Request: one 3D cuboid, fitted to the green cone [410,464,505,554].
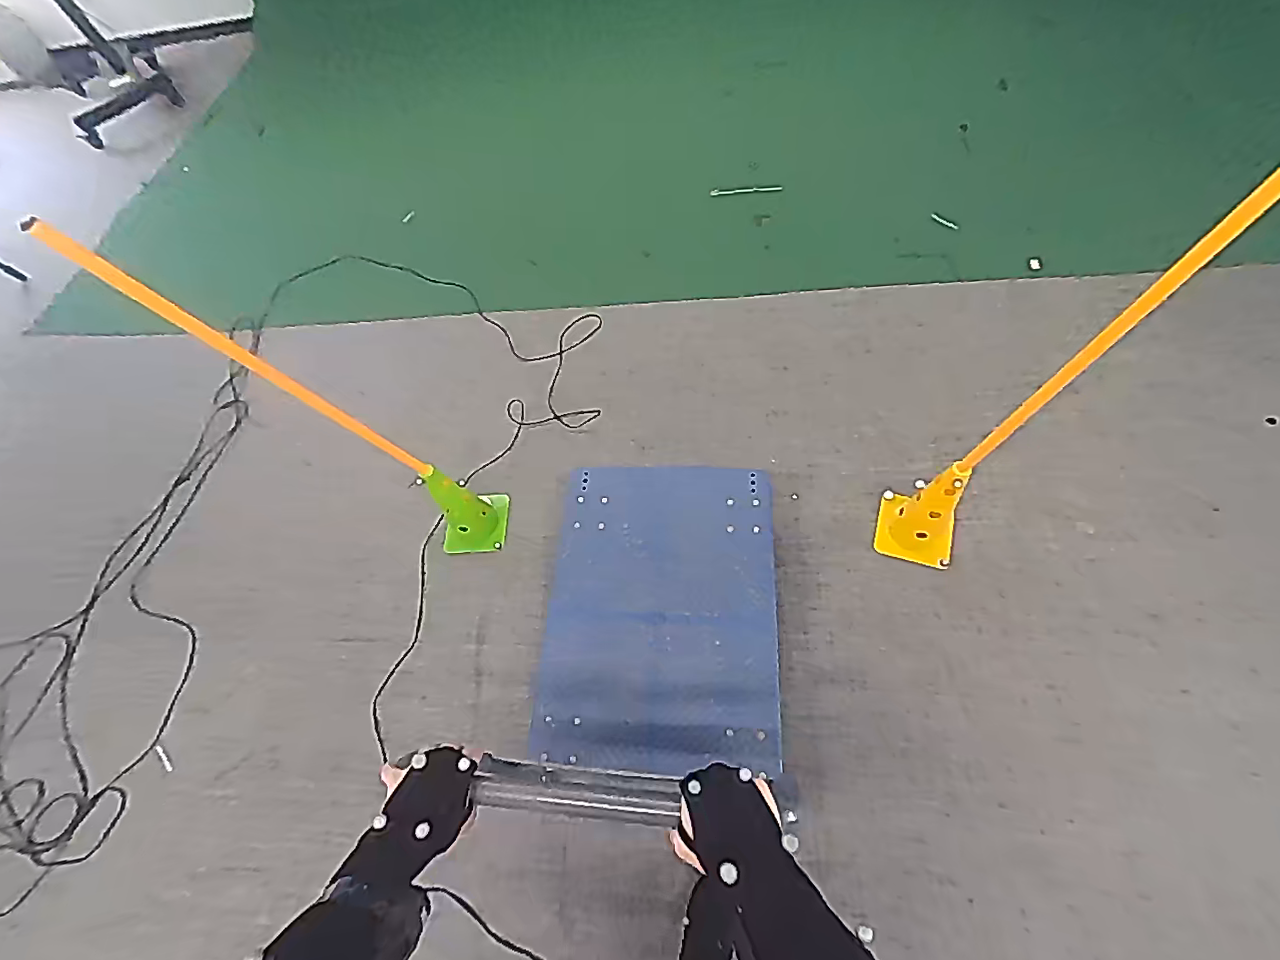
[{"bbox_3d":[-0.561,0.056,1.584,0.202,0.368,0.200,-5,60,7],"label":"green cone"}]
